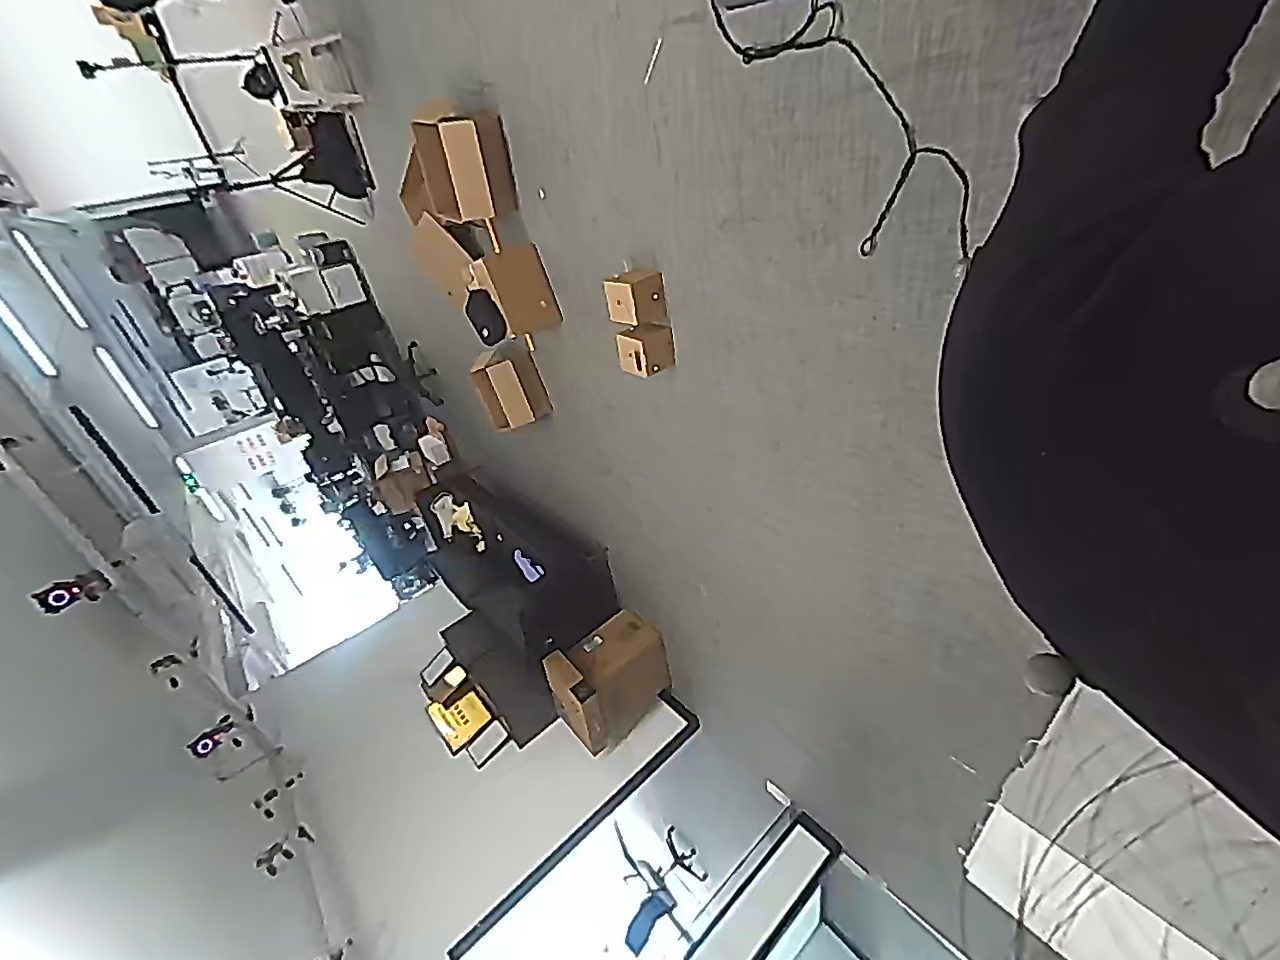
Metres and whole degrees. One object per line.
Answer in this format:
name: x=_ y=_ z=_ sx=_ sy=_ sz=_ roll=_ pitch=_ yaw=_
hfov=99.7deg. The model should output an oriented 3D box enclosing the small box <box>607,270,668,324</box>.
small box: x=-0.008 y=-0.755 z=2.217 sx=0.179 sy=0.176 sz=0.168 roll=26 pitch=138 yaw=44
